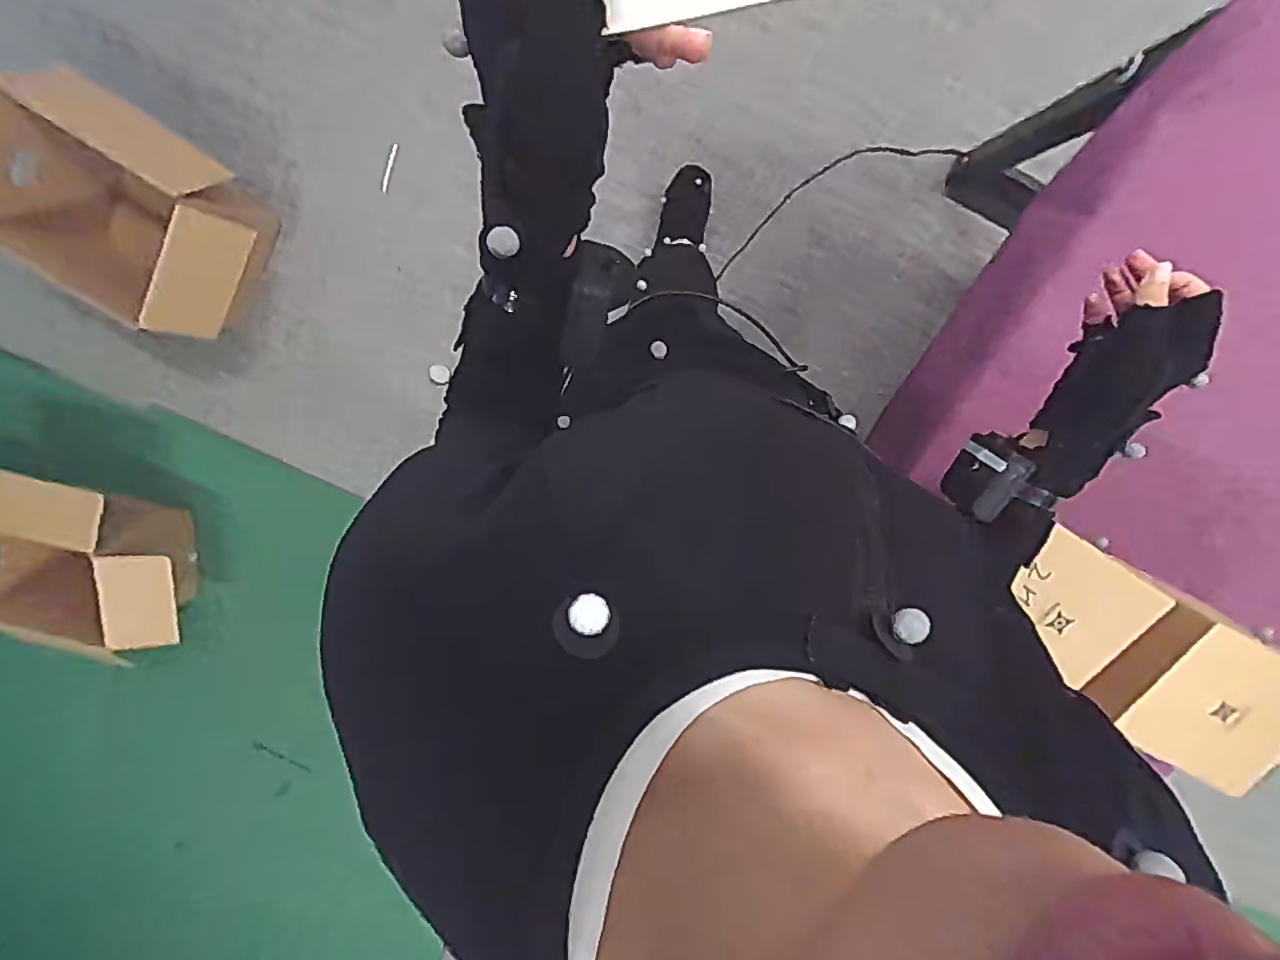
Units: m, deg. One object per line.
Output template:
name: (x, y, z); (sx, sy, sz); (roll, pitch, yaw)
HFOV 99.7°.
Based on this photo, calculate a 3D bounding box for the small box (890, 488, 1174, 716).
small box: (0.444, 0.133, 0.648); (0.179, 0.176, 0.168); (32, 107, -5)

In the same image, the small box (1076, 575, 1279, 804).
small box: (0.645, 0.241, 0.664); (0.179, 0.176, 0.168); (27, 107, -3)
